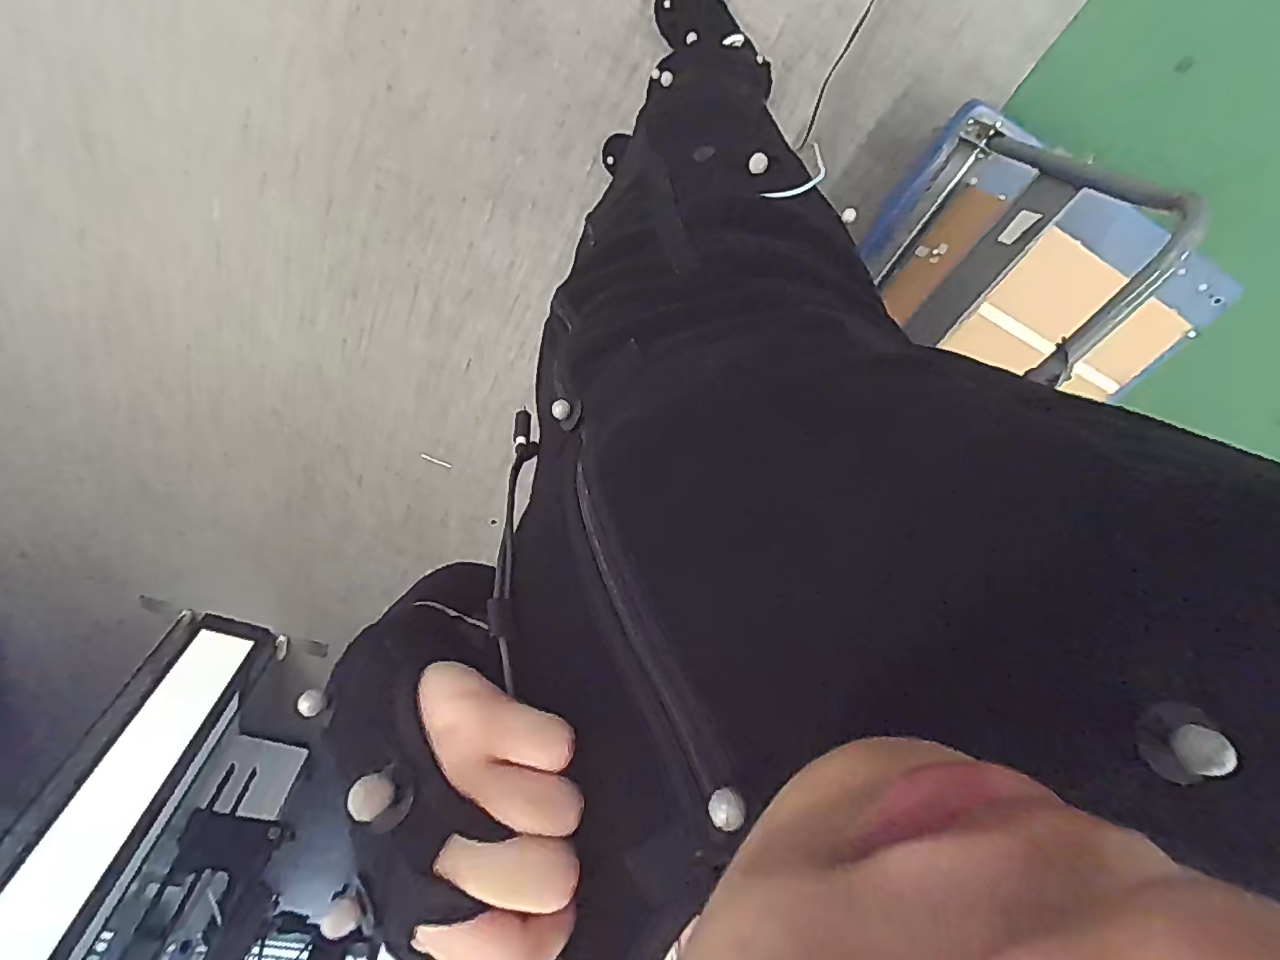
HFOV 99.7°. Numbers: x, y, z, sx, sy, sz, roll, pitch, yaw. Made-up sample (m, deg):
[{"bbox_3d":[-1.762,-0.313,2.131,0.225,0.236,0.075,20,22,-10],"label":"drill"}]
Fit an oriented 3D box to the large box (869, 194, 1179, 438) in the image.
[{"bbox_3d":[0.801,-0.360,1.191,0.408,0.320,0.320,22,127,-16],"label":"large box"}]
